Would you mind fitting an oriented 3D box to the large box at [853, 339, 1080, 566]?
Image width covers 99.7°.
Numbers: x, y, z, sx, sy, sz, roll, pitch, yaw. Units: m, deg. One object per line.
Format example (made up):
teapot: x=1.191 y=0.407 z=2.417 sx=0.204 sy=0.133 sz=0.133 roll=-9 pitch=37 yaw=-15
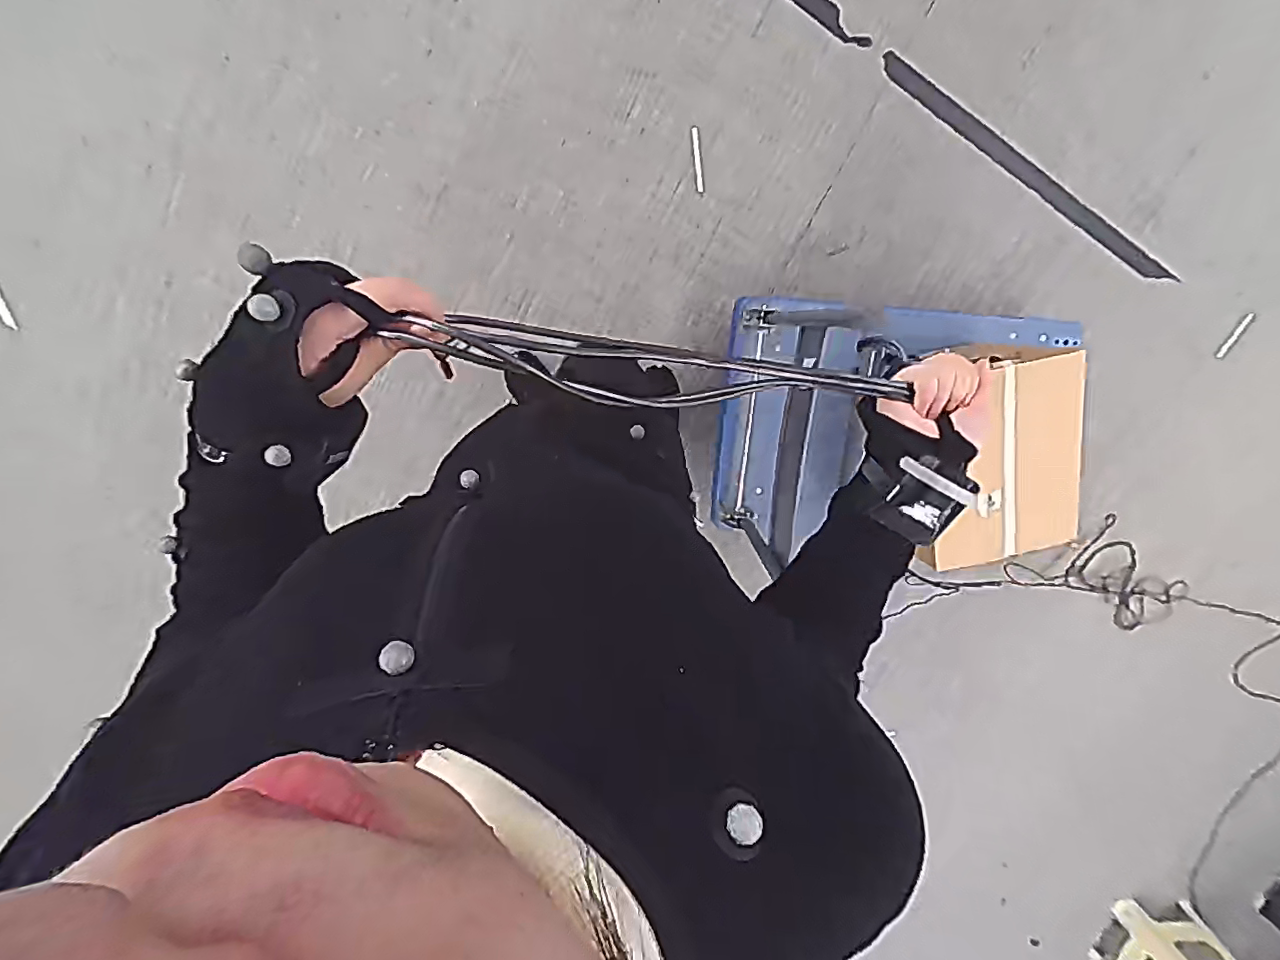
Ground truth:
large box: x=0.705 y=-0.079 z=1.215 sx=0.320 sy=0.320 sz=0.408 roll=-12 pitch=108 yaw=-1
